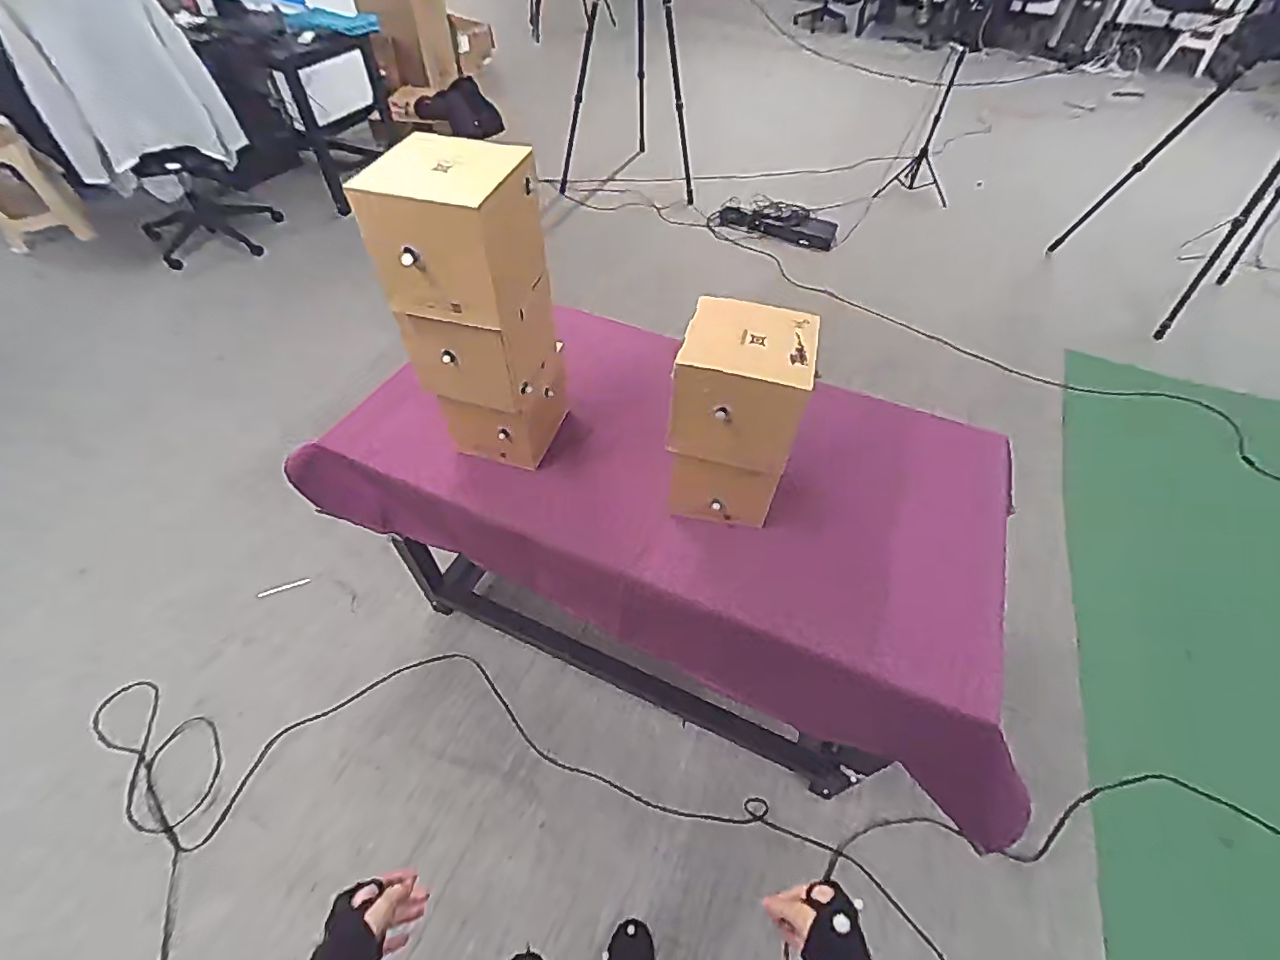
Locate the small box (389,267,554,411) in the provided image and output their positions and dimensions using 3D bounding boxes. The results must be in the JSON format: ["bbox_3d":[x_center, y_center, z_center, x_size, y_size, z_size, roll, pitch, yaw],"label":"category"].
[{"bbox_3d":[-0.248,-0.232,0.852,0.179,0.176,0.168,15,52,10],"label":"small box"}]

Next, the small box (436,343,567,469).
[{"bbox_3d":[-0.241,-0.147,0.993,0.168,0.176,0.179,16,51,9],"label":"small box"}]

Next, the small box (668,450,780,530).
[{"bbox_3d":[0.143,-0.042,0.918,0.168,0.176,0.179,10,51,7],"label":"small box"}]

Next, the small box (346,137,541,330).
[{"bbox_3d":[-0.239,-0.324,0.717,0.168,0.176,0.179,12,51,7],"label":"small box"}]

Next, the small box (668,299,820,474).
[{"bbox_3d":[0.144,-0.131,0.778,0.179,0.176,0.168,14,52,10],"label":"small box"}]
